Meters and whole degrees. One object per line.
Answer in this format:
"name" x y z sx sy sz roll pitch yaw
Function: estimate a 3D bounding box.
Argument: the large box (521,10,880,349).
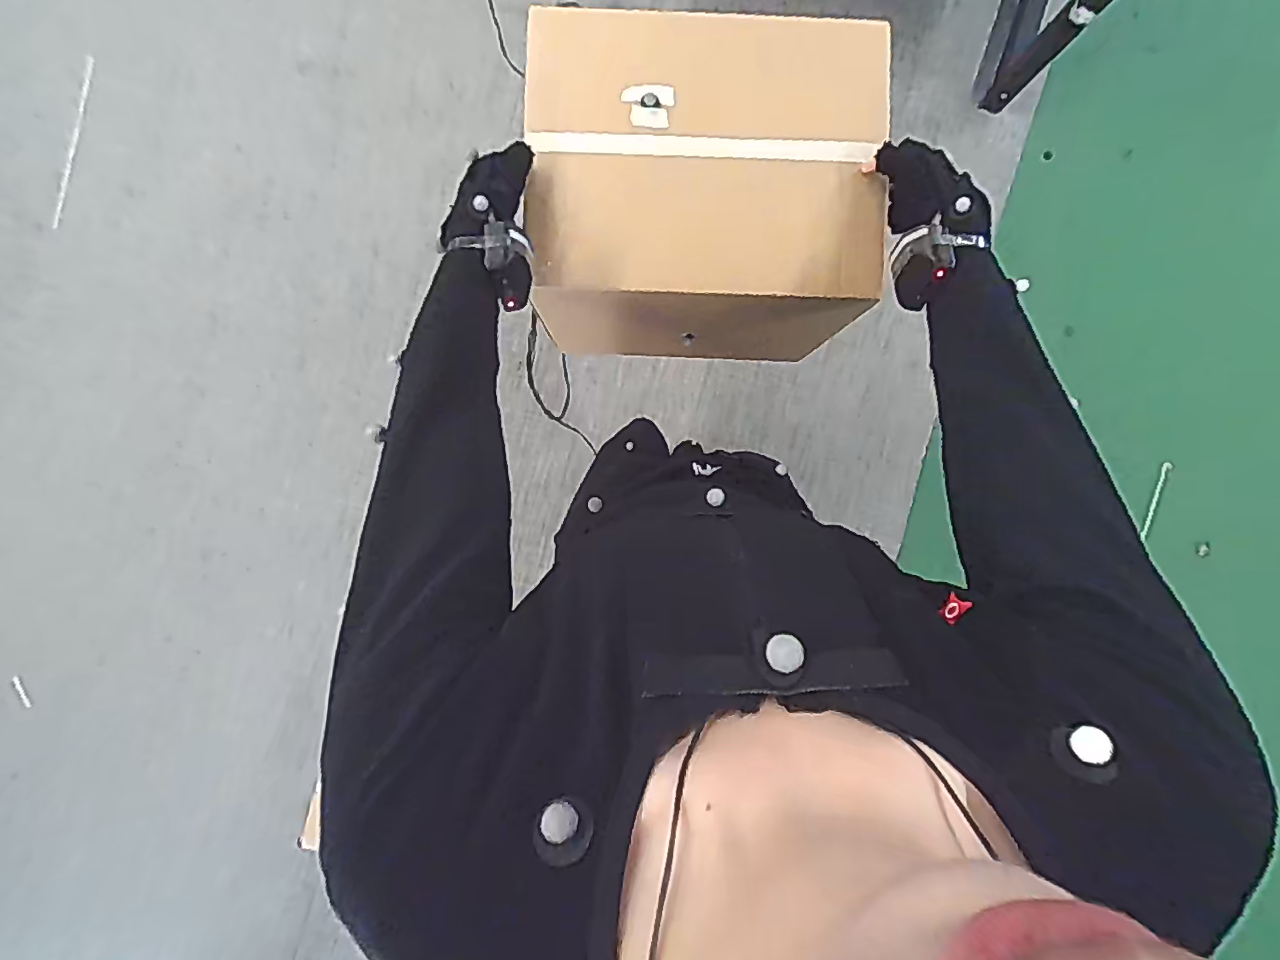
"large box" 0.069 -0.367 0.747 0.408 0.320 0.320 1 89 0
